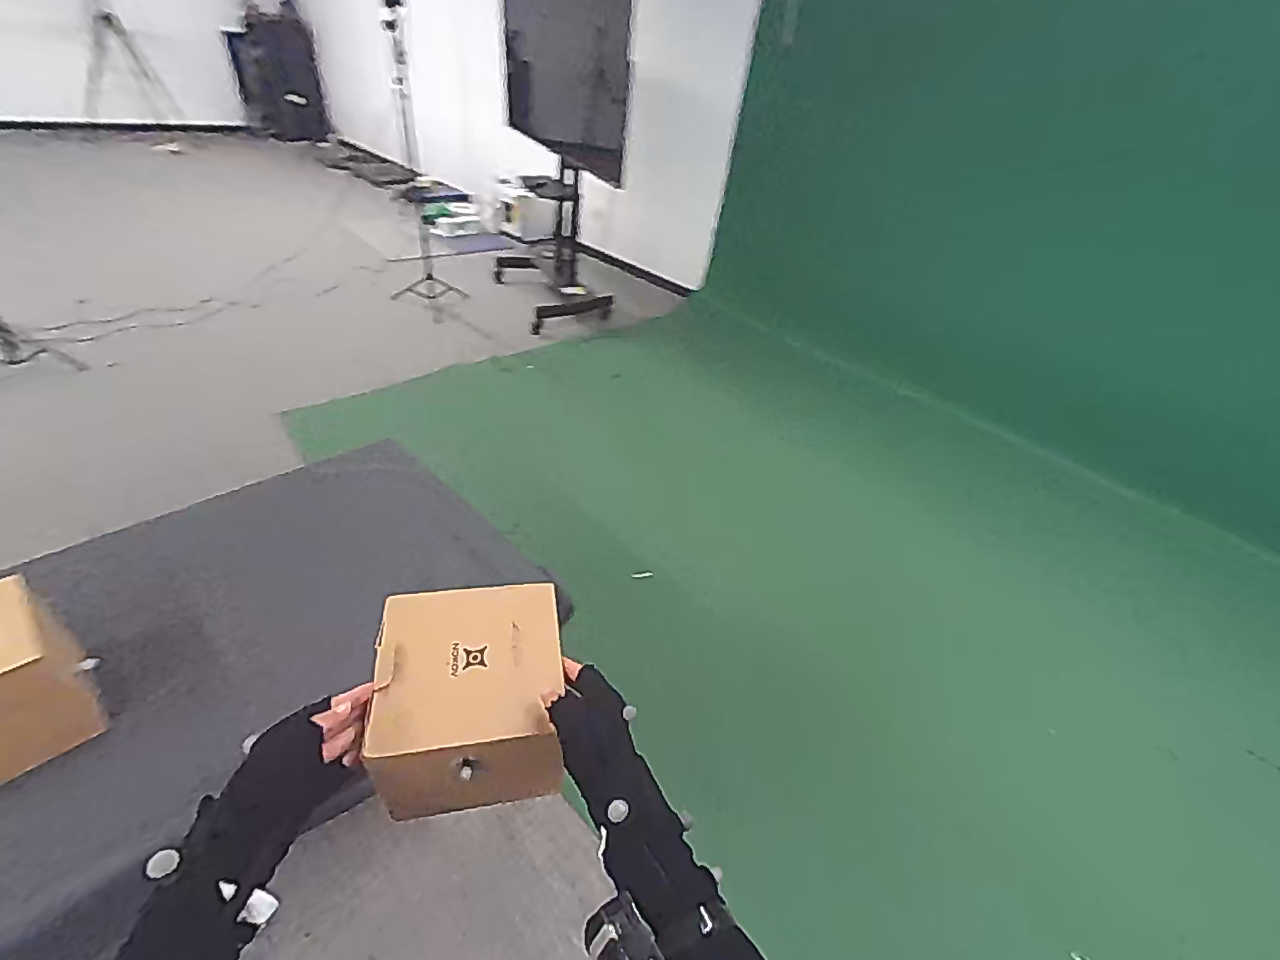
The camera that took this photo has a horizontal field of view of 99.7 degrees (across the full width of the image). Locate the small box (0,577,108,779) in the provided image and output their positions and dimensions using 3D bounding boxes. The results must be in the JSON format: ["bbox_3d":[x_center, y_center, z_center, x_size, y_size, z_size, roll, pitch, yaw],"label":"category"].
[{"bbox_3d":[-0.805,0.258,0.649,0.168,0.176,0.179,34,44,29],"label":"small box"}]

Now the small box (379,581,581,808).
[{"bbox_3d":[-0.164,0.230,0.584,0.179,0.176,0.168,-1,44,-15],"label":"small box"}]
